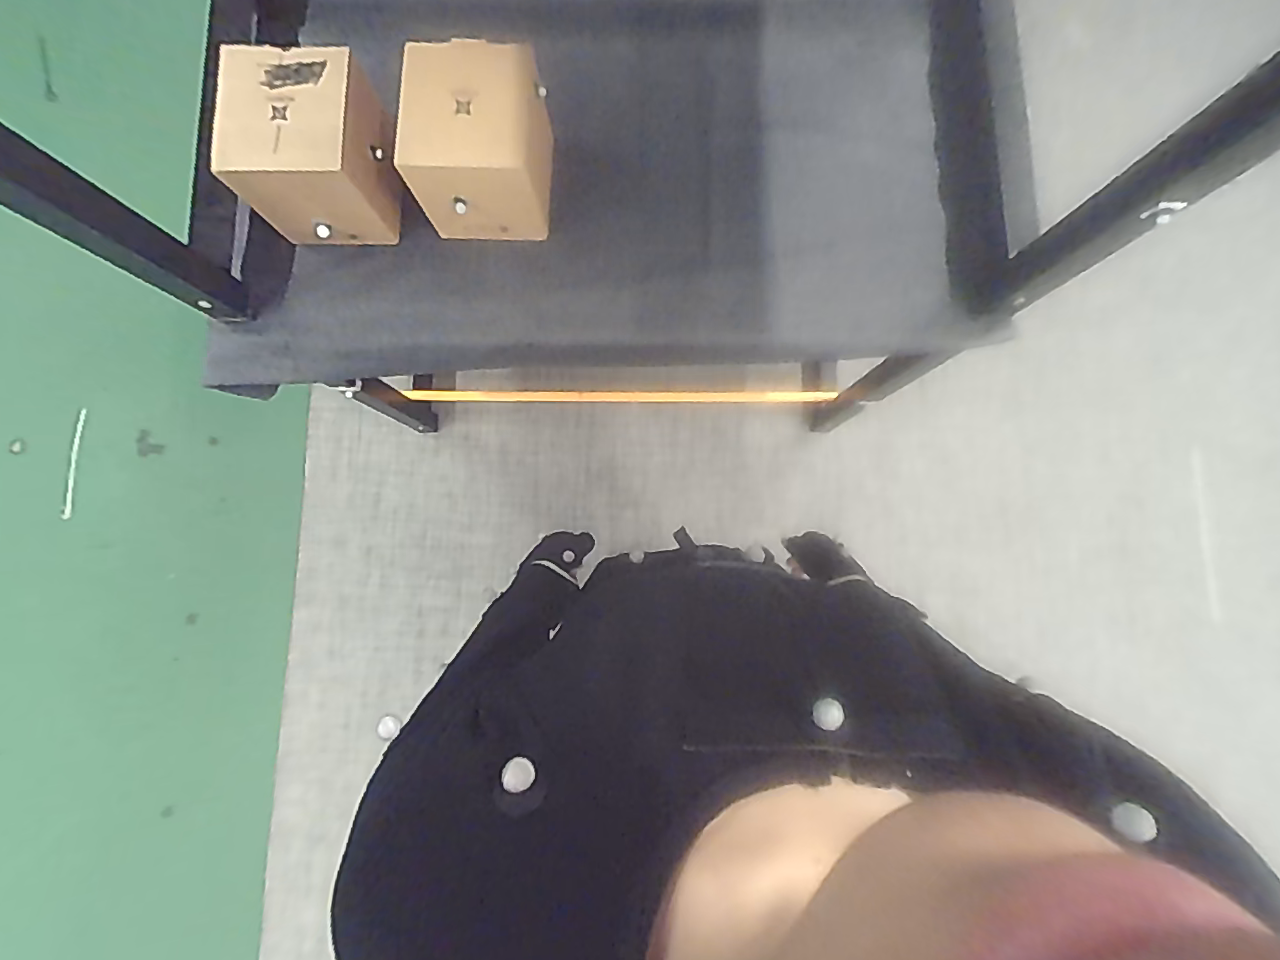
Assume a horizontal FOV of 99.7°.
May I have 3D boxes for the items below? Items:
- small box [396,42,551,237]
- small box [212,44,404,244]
[{"bbox_3d":[-0.223,-0.469,0.768,0.168,0.176,0.179,1,82,0],"label":"small box"},{"bbox_3d":[-0.451,-0.463,0.764,0.168,0.176,0.179,0,83,0],"label":"small box"}]
